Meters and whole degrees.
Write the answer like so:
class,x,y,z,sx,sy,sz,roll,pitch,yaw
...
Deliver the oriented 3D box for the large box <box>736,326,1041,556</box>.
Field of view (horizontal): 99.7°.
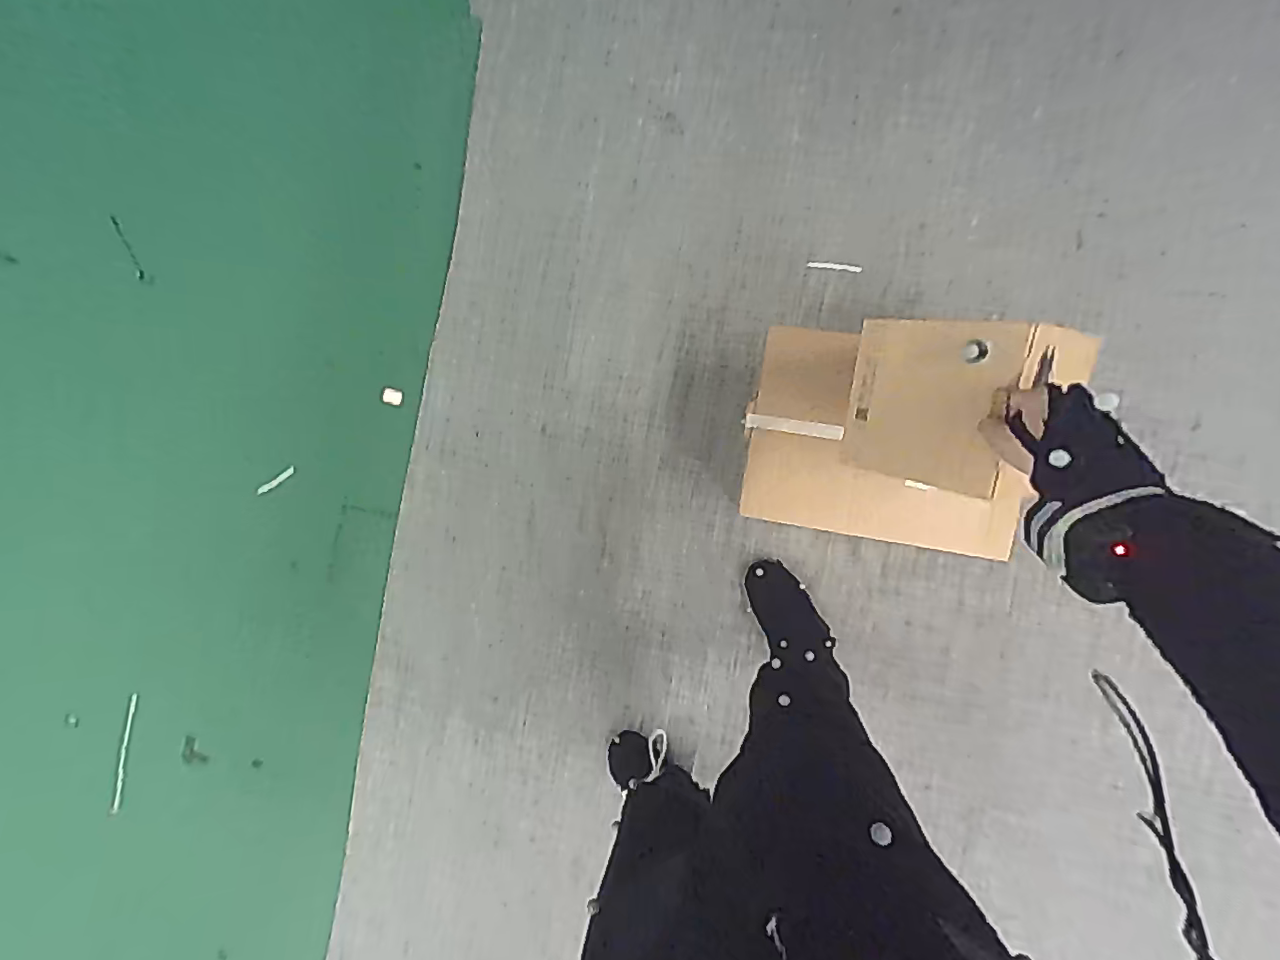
class,x,y,z,sx,sy,sz,roll,pitch,yaw
large box,0.399,-0.064,0.978,0.408,0.320,0.320,10,92,8
